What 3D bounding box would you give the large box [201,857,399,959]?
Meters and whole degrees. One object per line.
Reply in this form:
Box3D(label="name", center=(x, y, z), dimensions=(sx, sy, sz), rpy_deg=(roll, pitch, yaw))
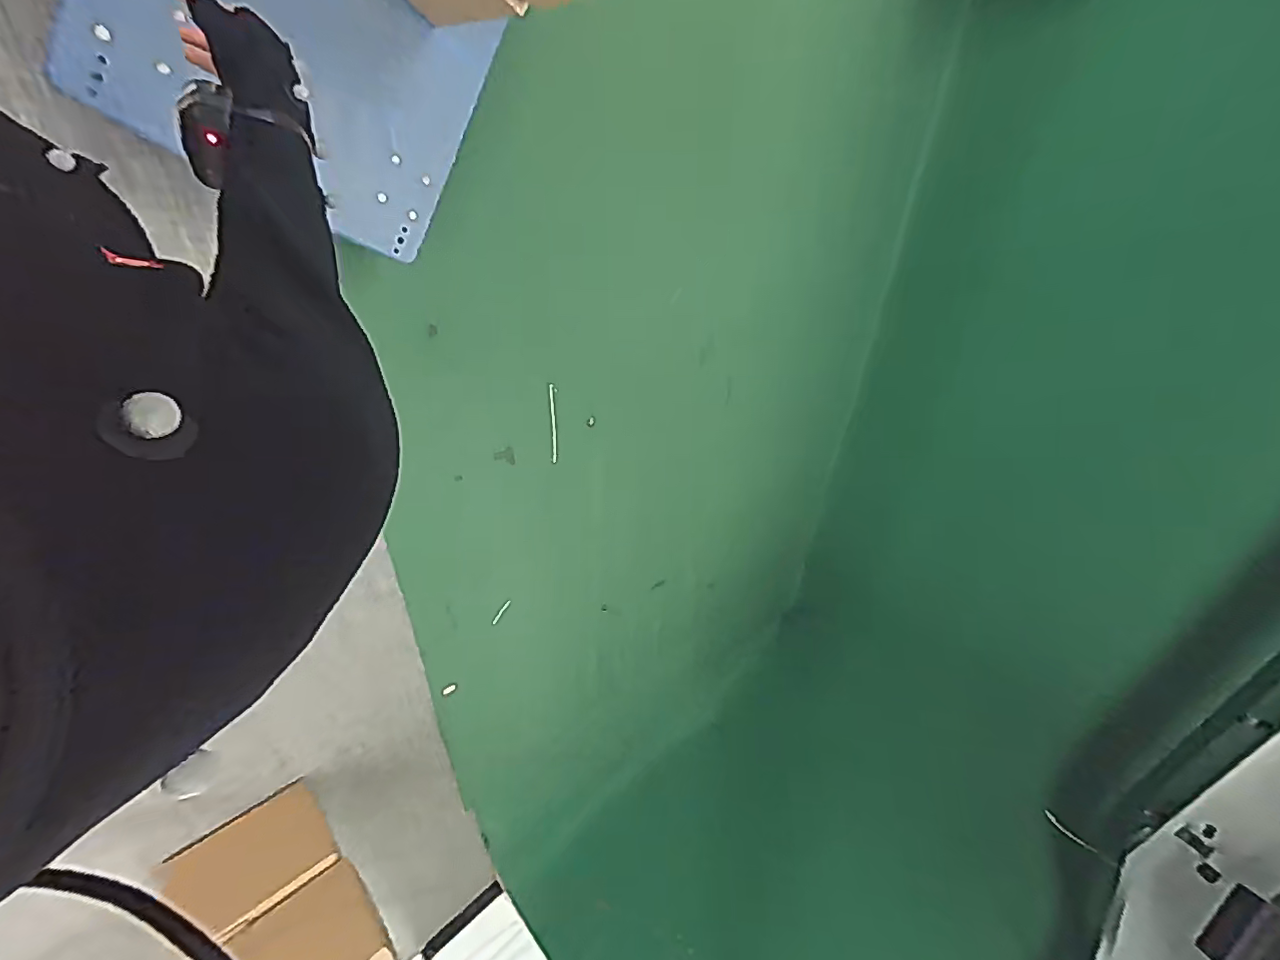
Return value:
Box3D(label="large box", center=(-0.992, 1.448, 1.606), dimensions=(0.408, 0.320, 0.320), rpy_deg=(-26, 136, -36))
